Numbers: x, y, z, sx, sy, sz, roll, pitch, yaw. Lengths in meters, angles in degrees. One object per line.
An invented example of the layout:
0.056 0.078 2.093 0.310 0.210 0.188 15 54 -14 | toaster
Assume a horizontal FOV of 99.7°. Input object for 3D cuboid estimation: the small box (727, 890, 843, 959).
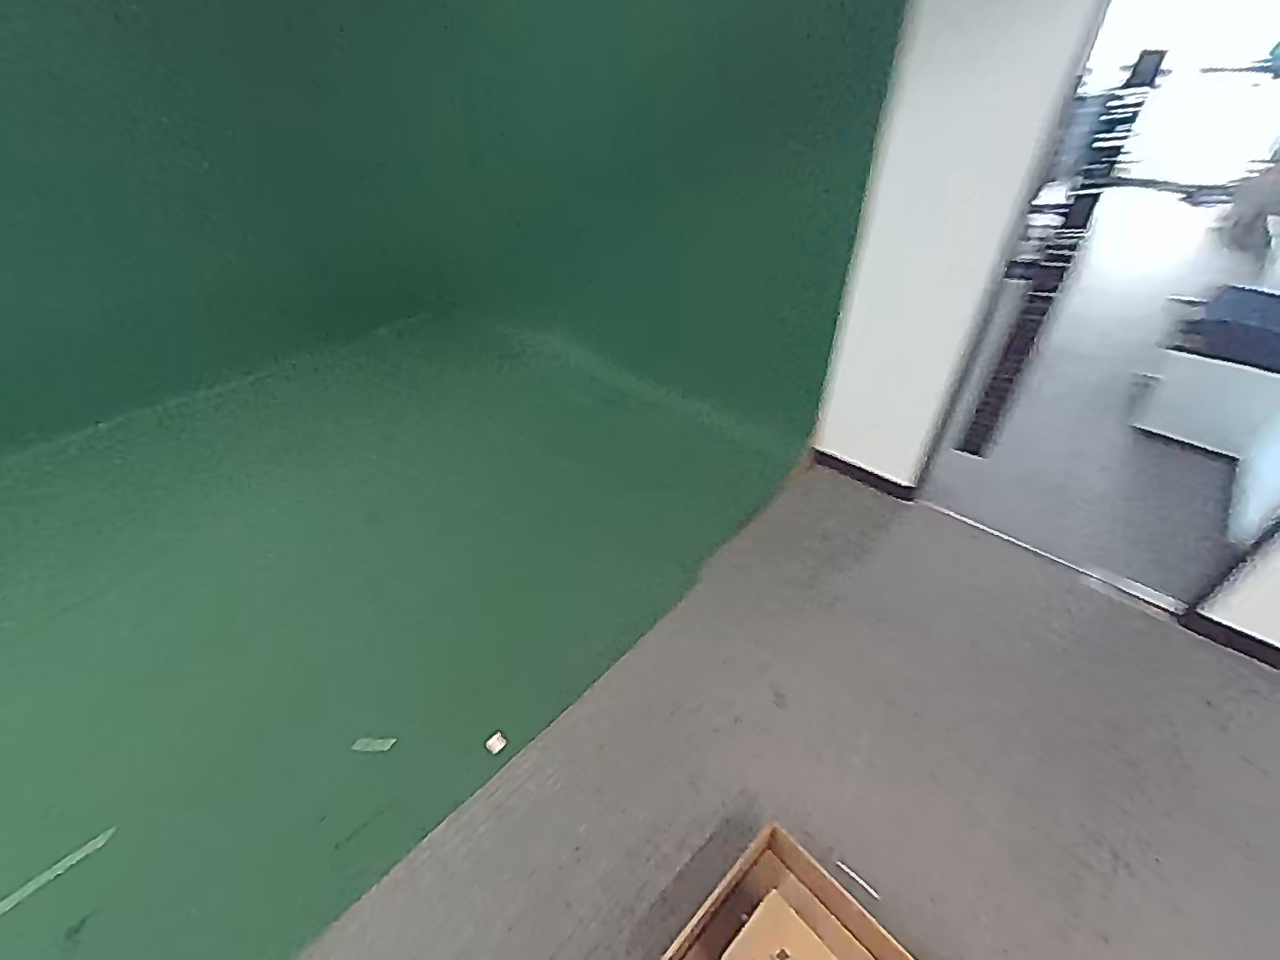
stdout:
0.291 1.016 1.126 0.179 0.176 0.168 -30 48 -30 | small box
